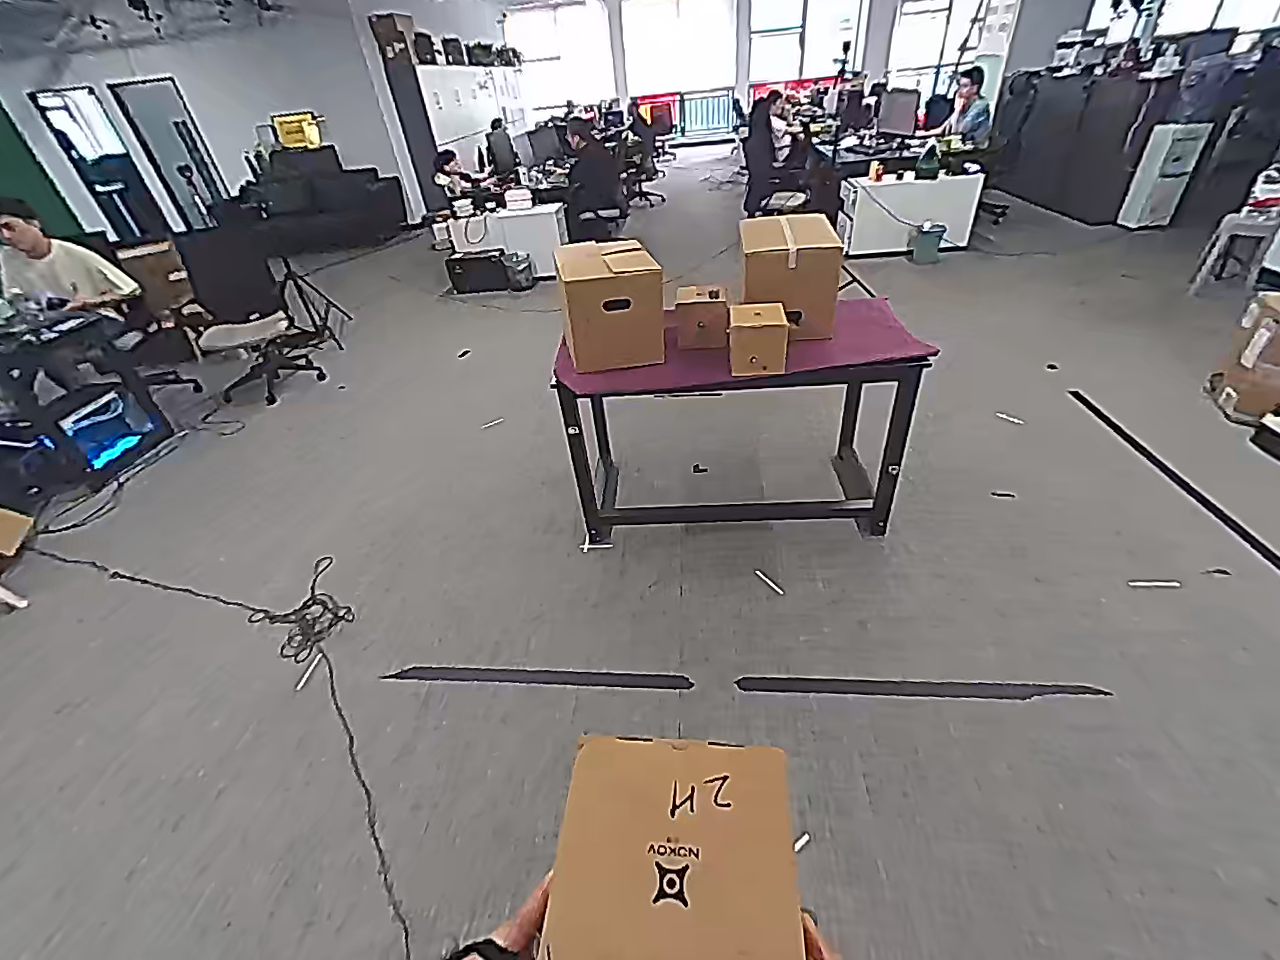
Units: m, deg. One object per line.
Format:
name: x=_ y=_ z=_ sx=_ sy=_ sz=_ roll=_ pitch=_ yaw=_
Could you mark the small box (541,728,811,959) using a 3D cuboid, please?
small box: x=0.035 y=0.319 z=0.413 sx=0.168 sy=0.176 sz=0.179 roll=0 pitch=39 yaw=8
